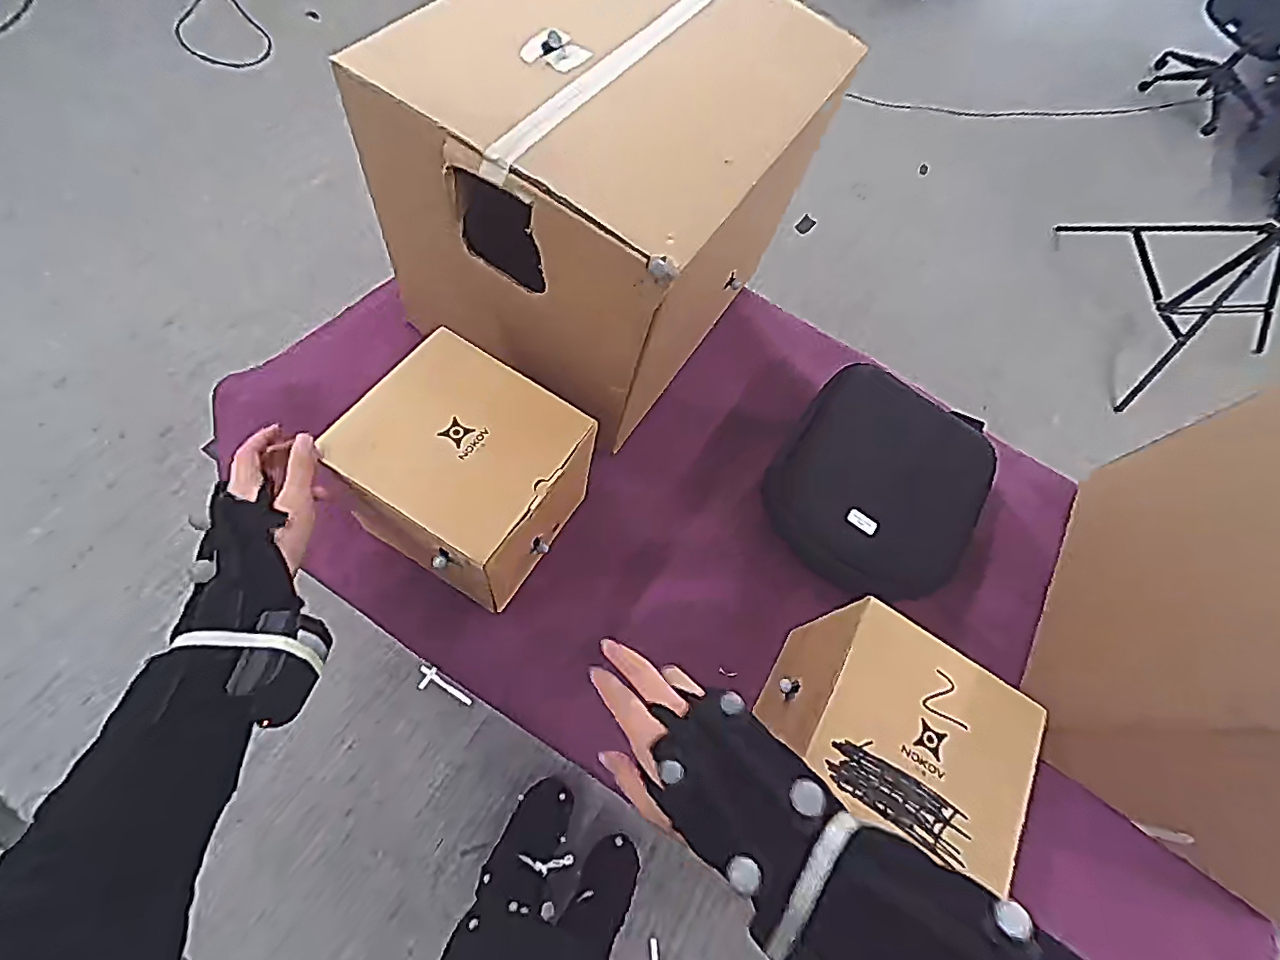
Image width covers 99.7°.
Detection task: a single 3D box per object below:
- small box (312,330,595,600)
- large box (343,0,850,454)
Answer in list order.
[{"bbox_3d":[-0.168,-0.004,0.532,0.179,0.176,0.168,31,62,3],"label":"small box"},{"bbox_3d":[-0.032,-0.312,0.623,0.320,0.320,0.408,32,66,4],"label":"large box"}]
